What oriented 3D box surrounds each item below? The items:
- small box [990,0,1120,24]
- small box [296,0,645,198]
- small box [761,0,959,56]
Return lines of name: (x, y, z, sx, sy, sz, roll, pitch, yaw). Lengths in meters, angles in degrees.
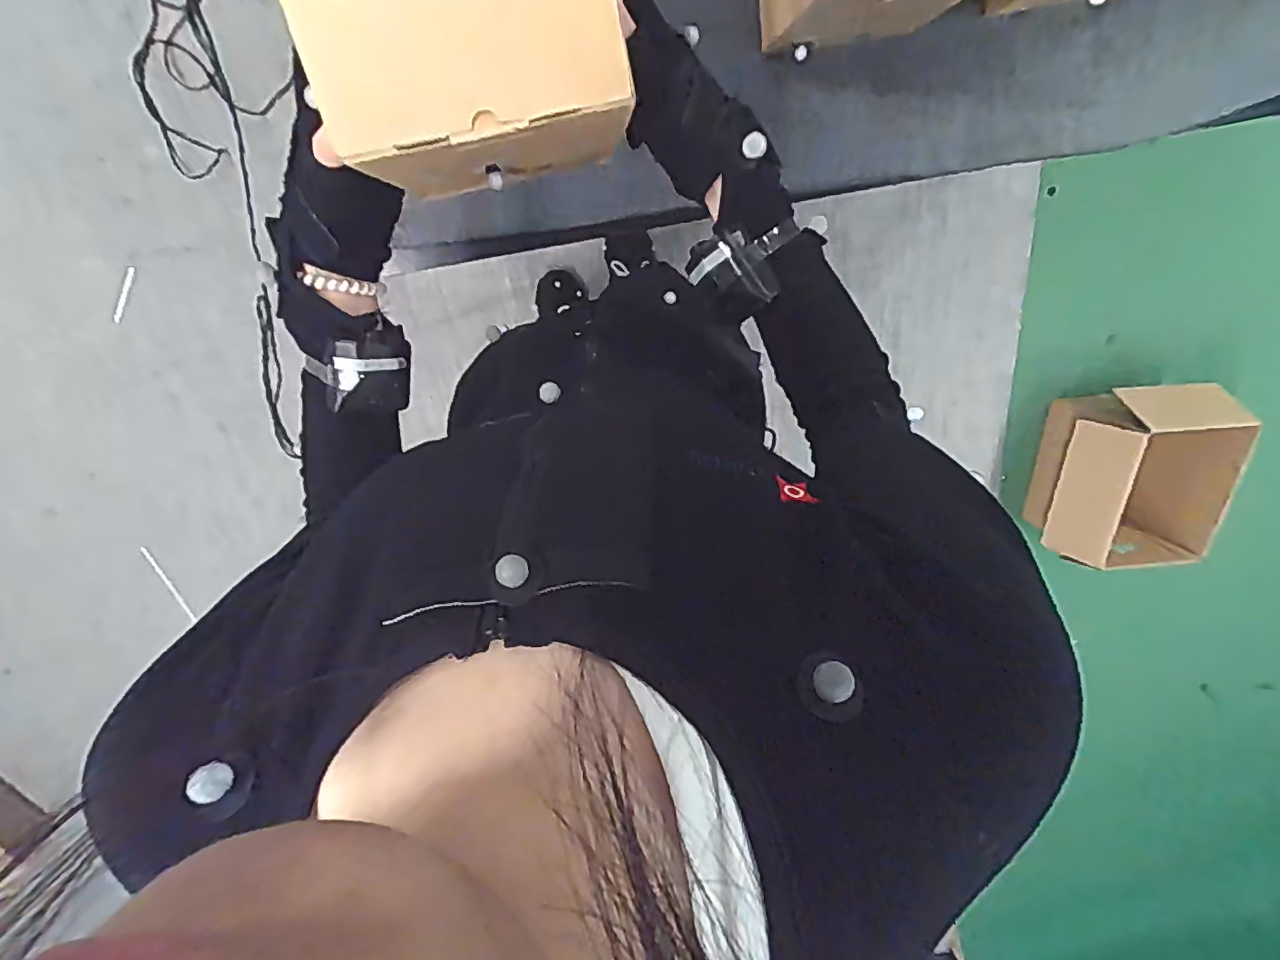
small box: (0.445, -0.553, 0.478, 0.168, 0.176, 0.179, -12, 114, -1)
small box: (-0.103, -0.295, 0.336, 0.168, 0.176, 0.179, -14, 113, -2)
small box: (0.207, -0.505, 0.474, 0.168, 0.176, 0.179, -10, 113, -2)
